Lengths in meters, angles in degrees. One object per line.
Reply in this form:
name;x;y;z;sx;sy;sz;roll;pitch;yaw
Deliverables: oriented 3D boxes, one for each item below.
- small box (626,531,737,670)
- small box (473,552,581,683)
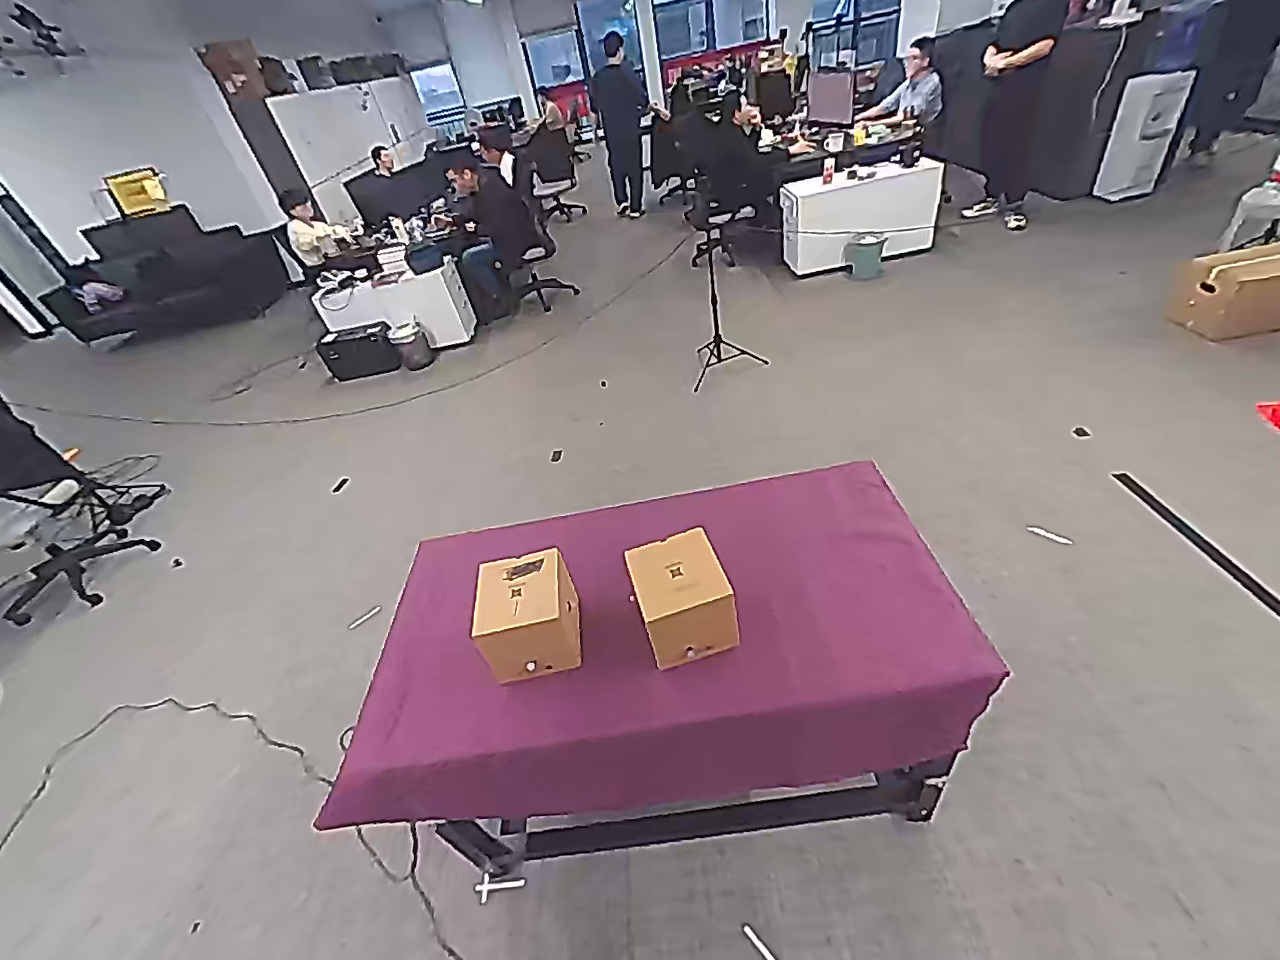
small box;0.081;0.236;1.061;0.168;0.176;0.179;-18;39;-4
small box;-0.220;0.278;1.096;0.168;0.176;0.179;-13;39;1
